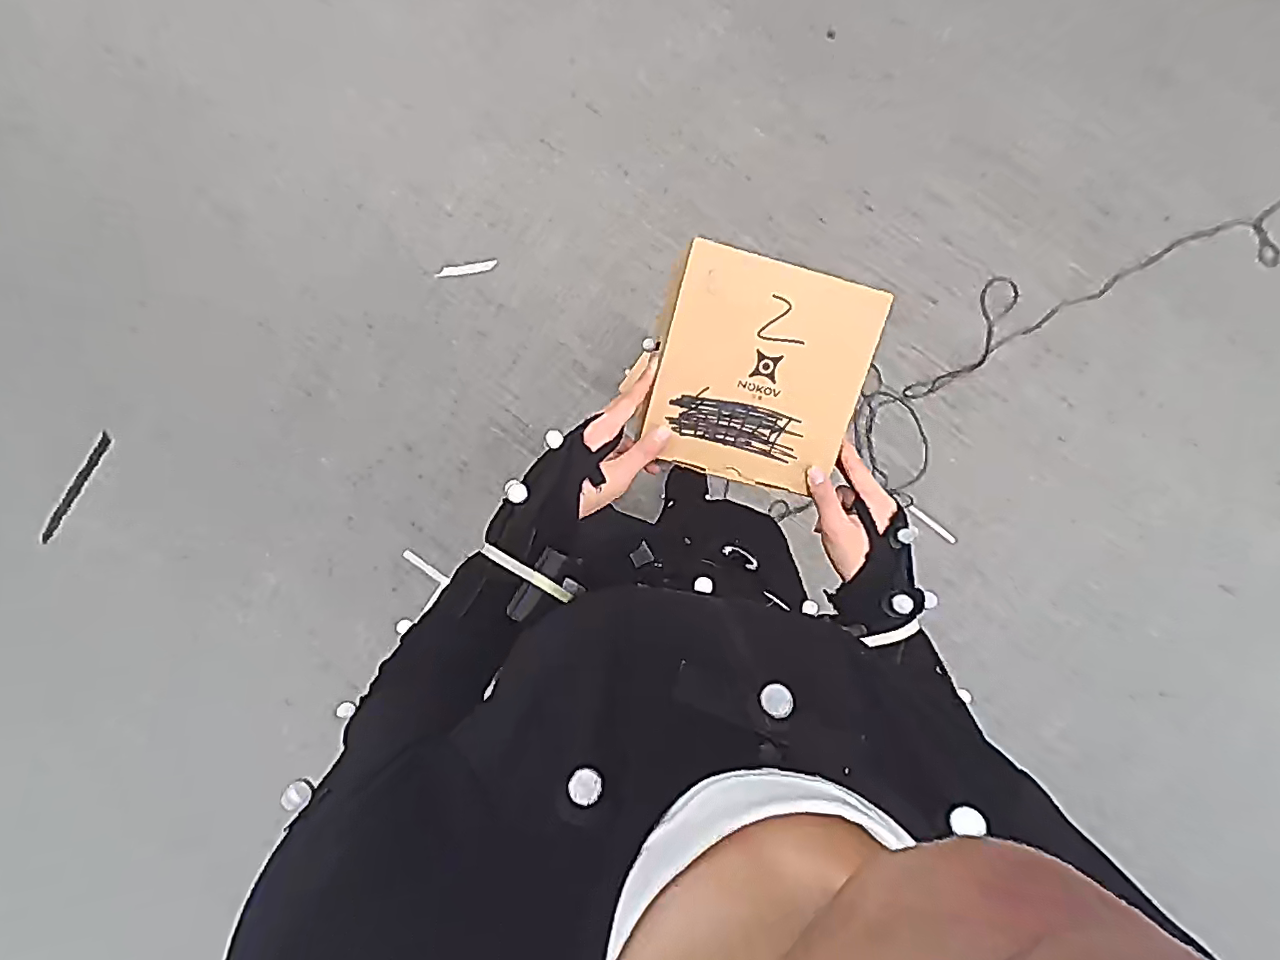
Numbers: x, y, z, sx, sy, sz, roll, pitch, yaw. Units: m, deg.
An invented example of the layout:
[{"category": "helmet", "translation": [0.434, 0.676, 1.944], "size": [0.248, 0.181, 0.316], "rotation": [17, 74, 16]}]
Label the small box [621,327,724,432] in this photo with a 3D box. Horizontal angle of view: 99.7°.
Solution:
[{"category": "small box", "translation": [0.079, -0.225, 1.275], "size": [0.168, 0.176, 0.179], "rotation": [36, 95, 2]}]
